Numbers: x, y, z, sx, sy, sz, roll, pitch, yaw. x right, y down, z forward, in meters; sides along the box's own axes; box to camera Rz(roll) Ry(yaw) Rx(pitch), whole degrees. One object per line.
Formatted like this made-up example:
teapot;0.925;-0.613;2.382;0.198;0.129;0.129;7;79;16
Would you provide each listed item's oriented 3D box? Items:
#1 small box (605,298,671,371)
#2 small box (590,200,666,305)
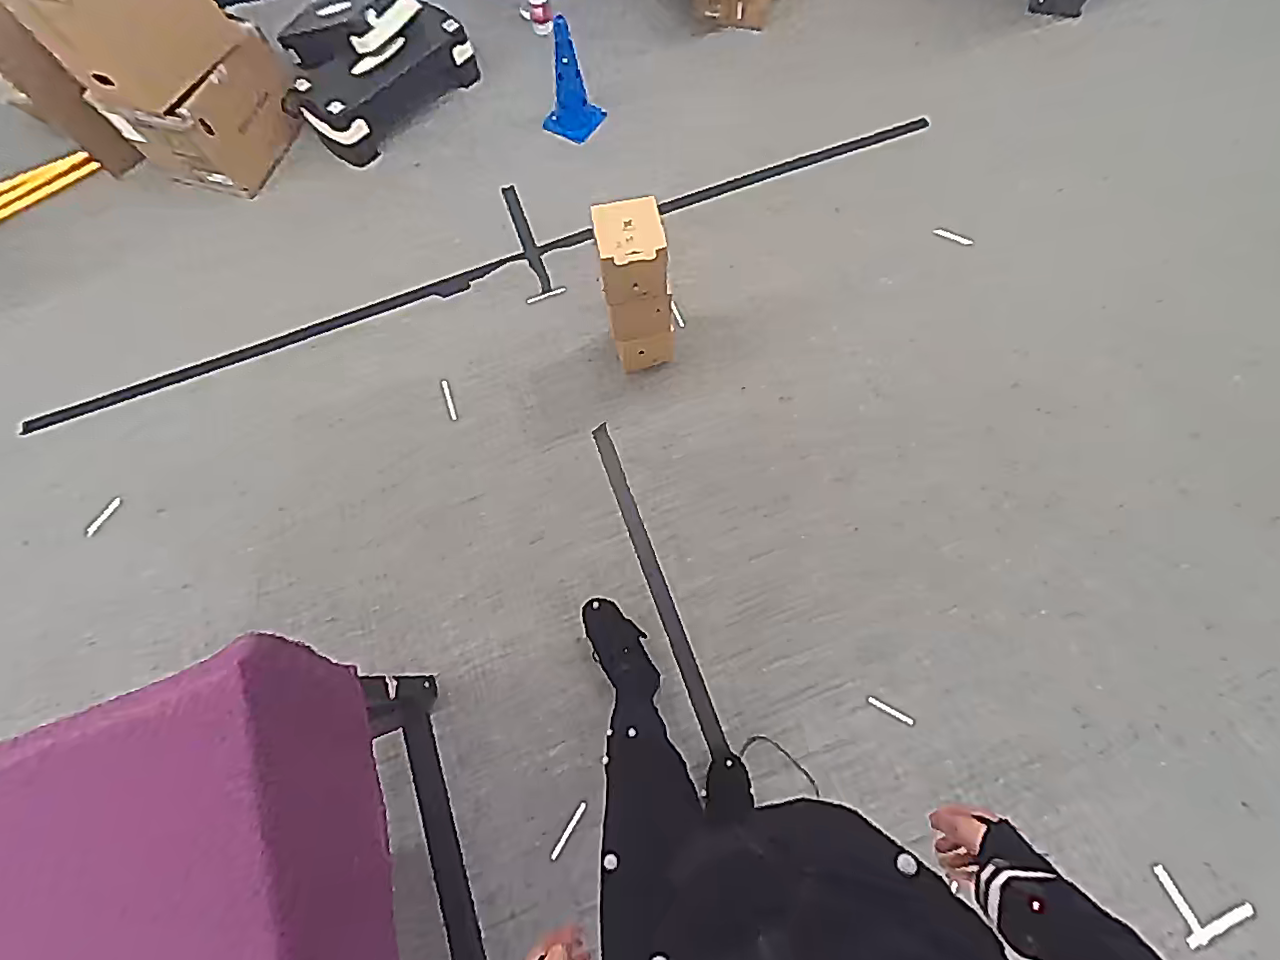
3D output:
small box;-0.003;-0.464;1.705;0.168;0.176;0.179;-17;70;-4
small box;-0.031;-0.584;1.398;0.168;0.176;0.179;-10;70;-2
